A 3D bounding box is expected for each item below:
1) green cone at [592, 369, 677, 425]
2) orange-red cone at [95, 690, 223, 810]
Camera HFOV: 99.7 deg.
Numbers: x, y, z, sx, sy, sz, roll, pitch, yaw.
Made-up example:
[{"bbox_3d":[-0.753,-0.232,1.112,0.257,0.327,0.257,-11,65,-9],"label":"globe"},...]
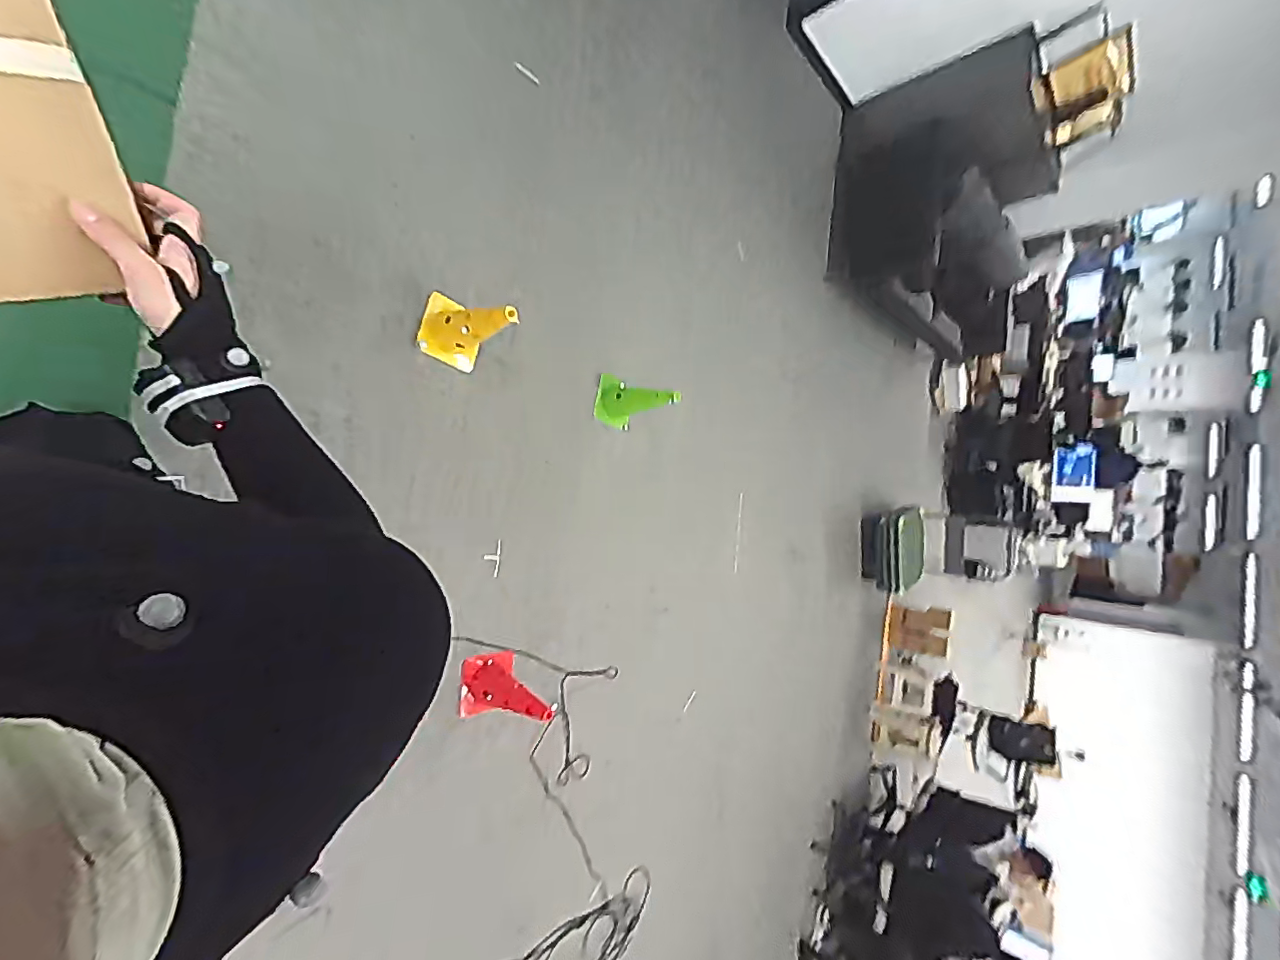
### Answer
[{"bbox_3d":[0.004,-0.348,2.176,0.202,0.368,0.200,17,79,-44],"label":"green cone"},{"bbox_3d":[-1.005,0.606,1.156,0.198,0.360,0.199,20,79,-44],"label":"orange-red cone"}]
